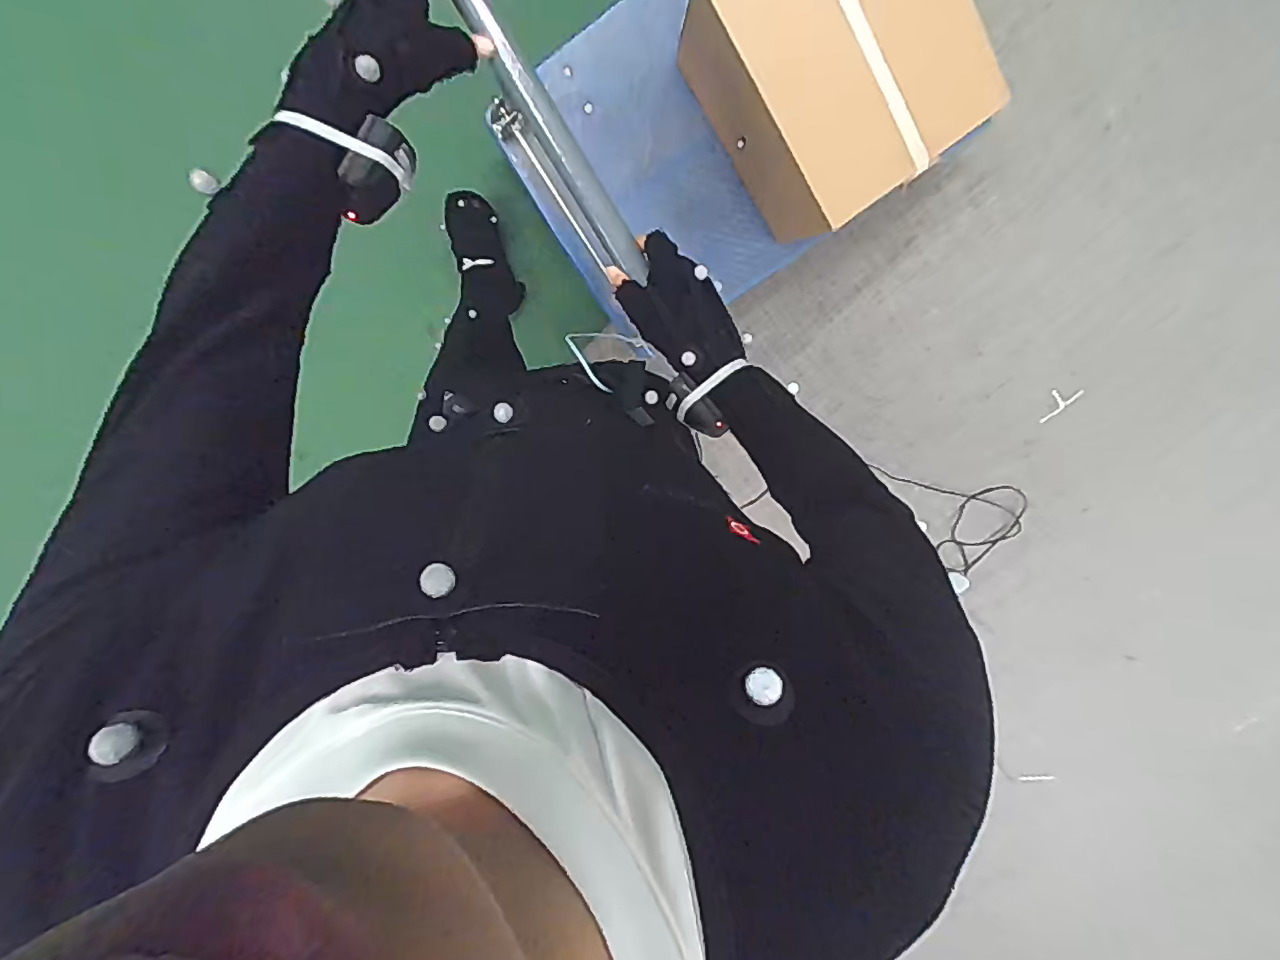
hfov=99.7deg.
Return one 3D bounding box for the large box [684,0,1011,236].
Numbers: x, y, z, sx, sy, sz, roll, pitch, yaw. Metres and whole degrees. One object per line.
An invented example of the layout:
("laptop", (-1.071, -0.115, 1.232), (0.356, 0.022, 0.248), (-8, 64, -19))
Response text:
("large box", (0.320, -0.696, 0.925), (0.320, 0.320, 0.408), (-35, 107, 10))
